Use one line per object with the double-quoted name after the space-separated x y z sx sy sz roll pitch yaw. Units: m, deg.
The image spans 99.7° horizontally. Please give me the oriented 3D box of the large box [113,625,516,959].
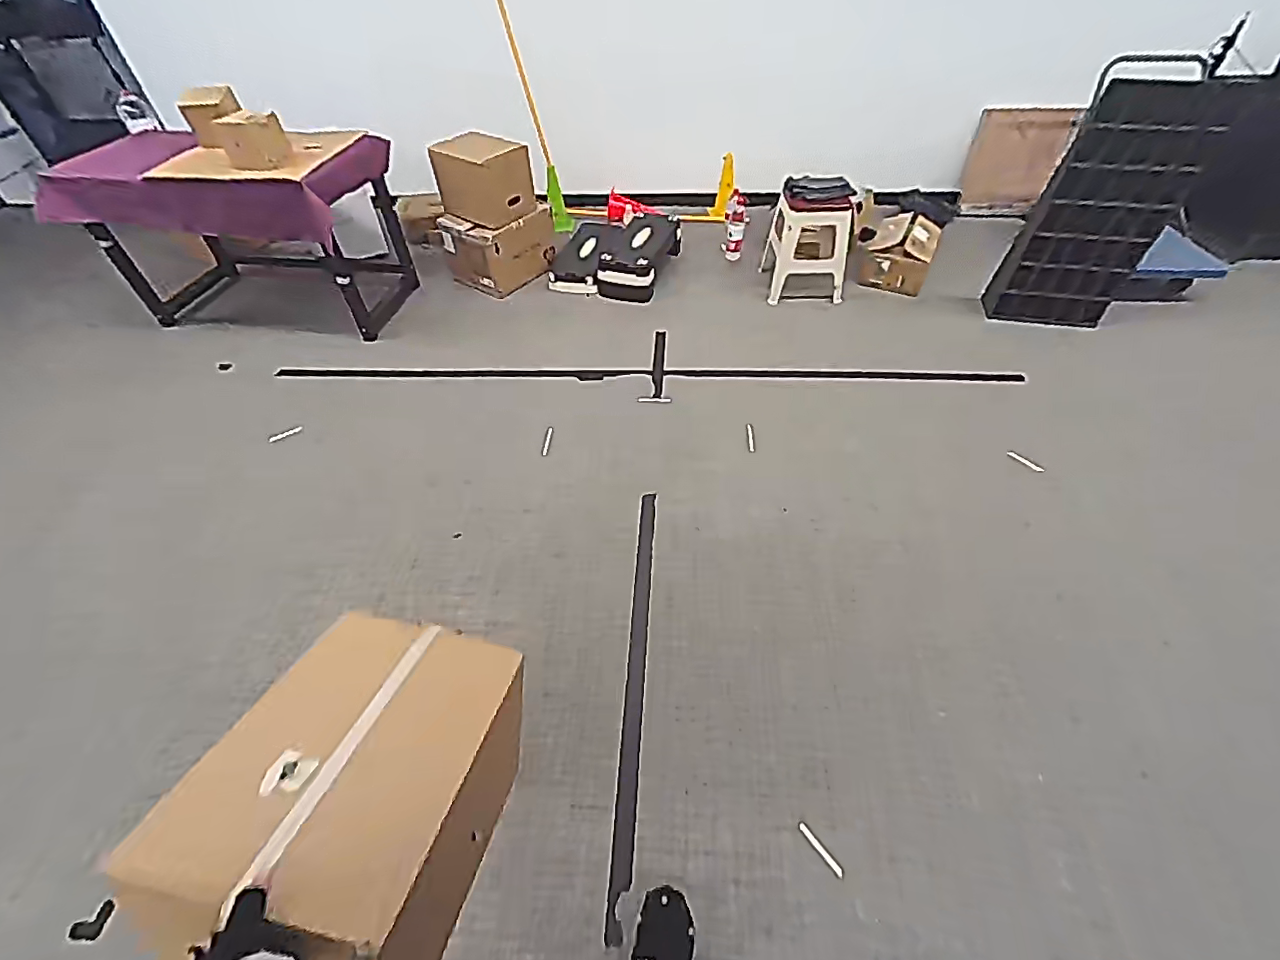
-0.402 0.491 0.799 0.320 0.320 0.408 11 28 5 "large box"
